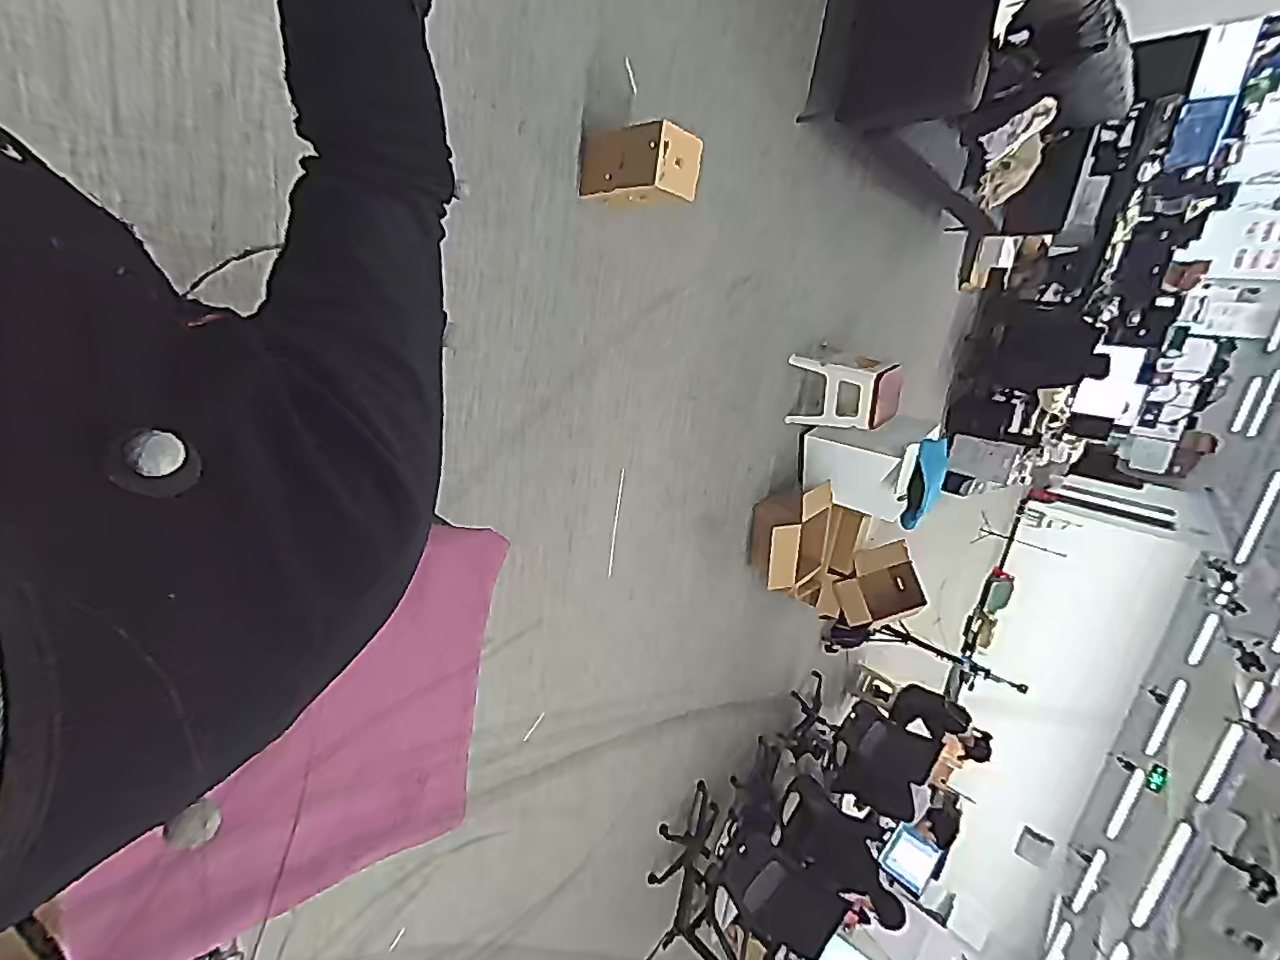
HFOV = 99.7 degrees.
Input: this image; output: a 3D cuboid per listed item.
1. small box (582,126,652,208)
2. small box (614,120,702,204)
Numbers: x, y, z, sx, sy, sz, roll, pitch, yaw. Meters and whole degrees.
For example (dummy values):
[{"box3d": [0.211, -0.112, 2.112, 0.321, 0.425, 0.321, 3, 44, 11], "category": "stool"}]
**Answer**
[{"box3d": [-0.065, -0.964, 1.684, 0.168, 0.176, 0.179, -7, 111, -45], "category": "small box"}, {"box3d": [0.051, -0.918, 1.576, 0.179, 0.176, 0.168, -7, 112, -46], "category": "small box"}]
